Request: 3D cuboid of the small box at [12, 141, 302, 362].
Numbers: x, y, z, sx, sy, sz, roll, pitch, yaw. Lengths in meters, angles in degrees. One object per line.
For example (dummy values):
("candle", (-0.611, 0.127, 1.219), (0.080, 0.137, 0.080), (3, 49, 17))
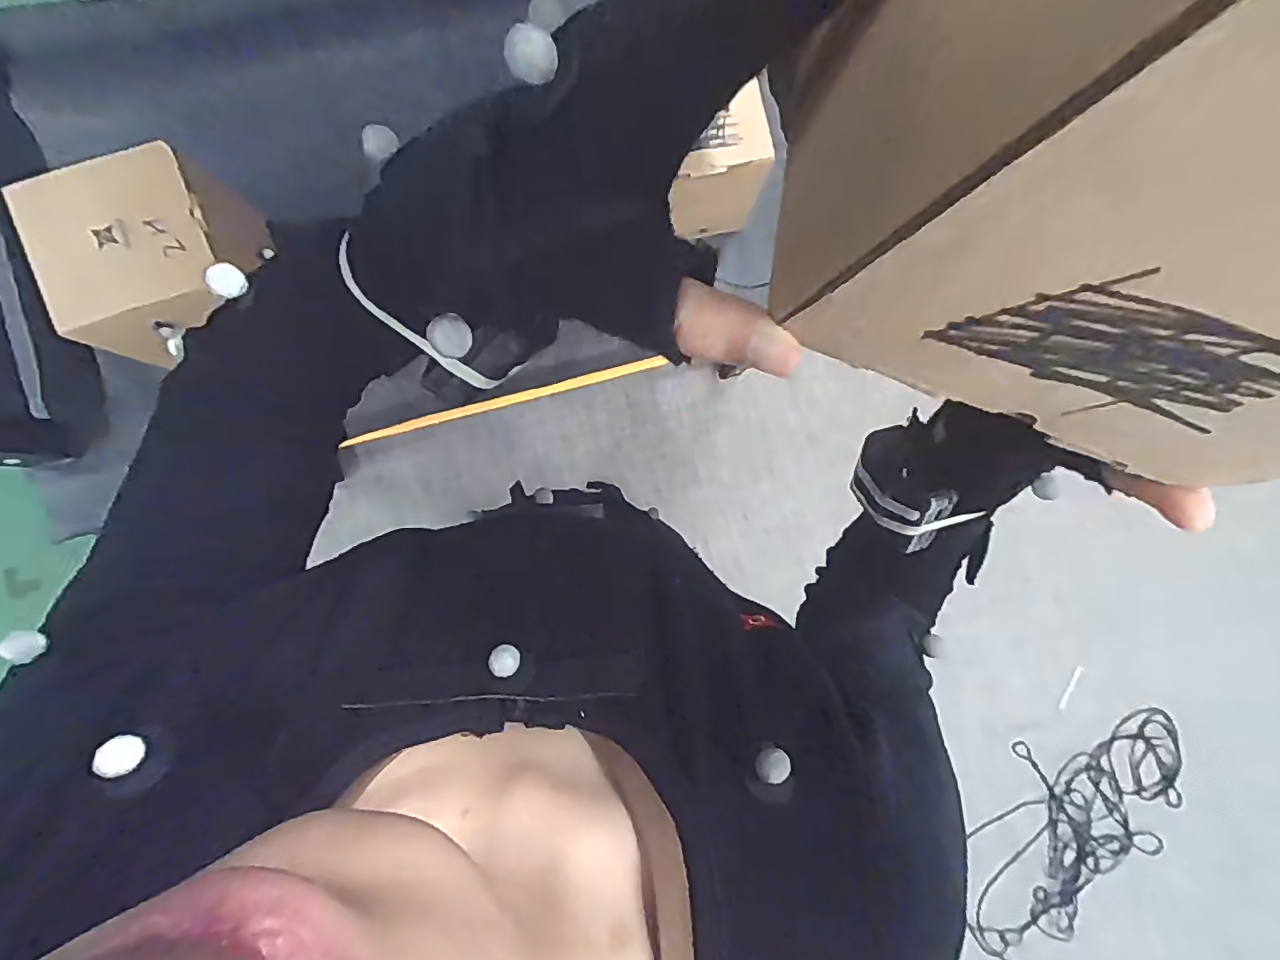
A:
("small box", (-0.560, -0.259, 0.654), (0.179, 0.176, 0.168), (-21, 91, -6))
